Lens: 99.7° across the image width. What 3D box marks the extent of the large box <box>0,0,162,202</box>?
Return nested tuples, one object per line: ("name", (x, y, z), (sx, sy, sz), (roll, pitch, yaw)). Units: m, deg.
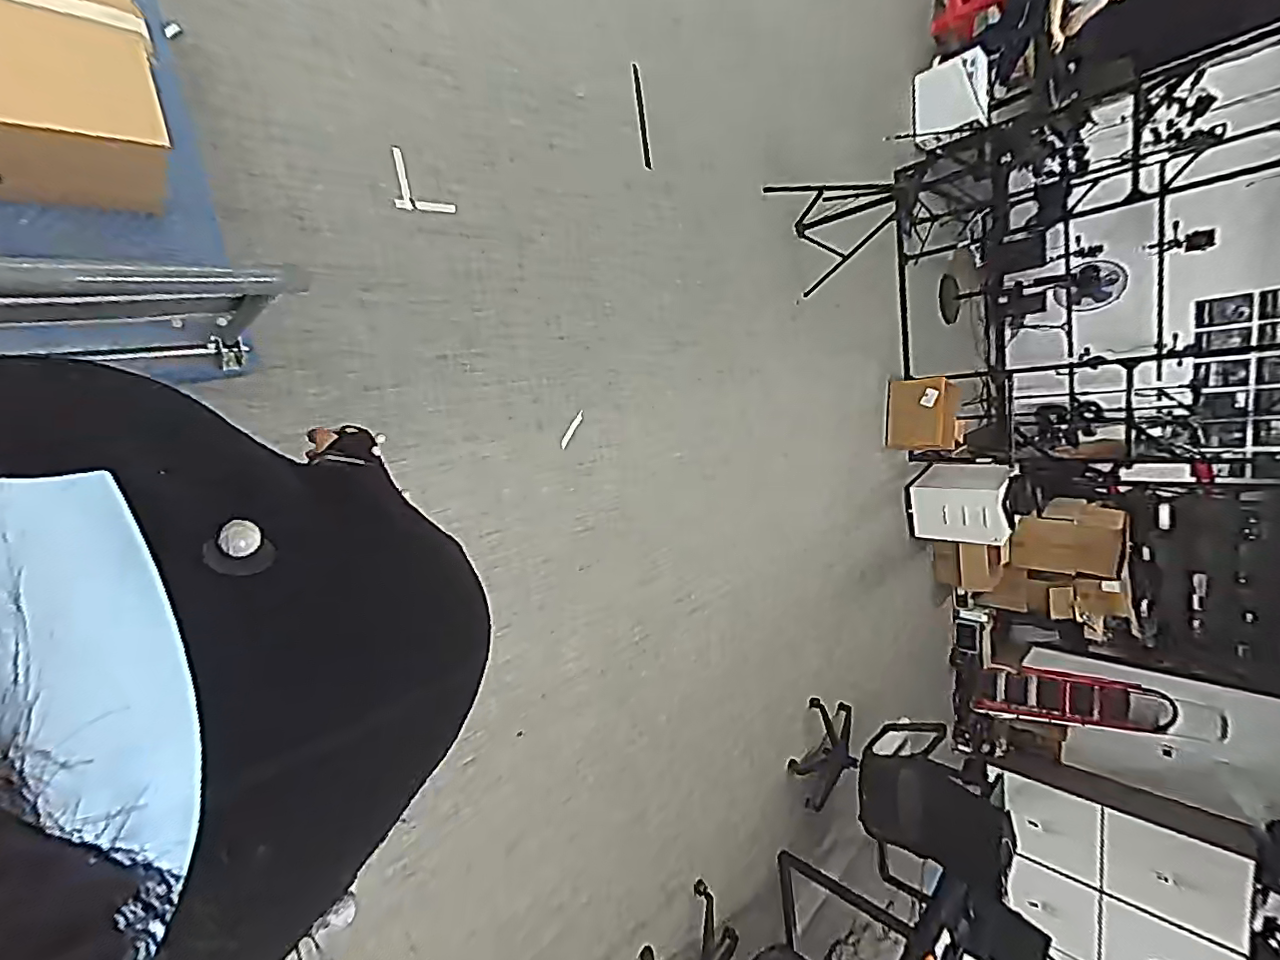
("large box", (-0.963, -0.609, 0.744), (0.408, 0.320, 0.320), (-17, 102, -41))
